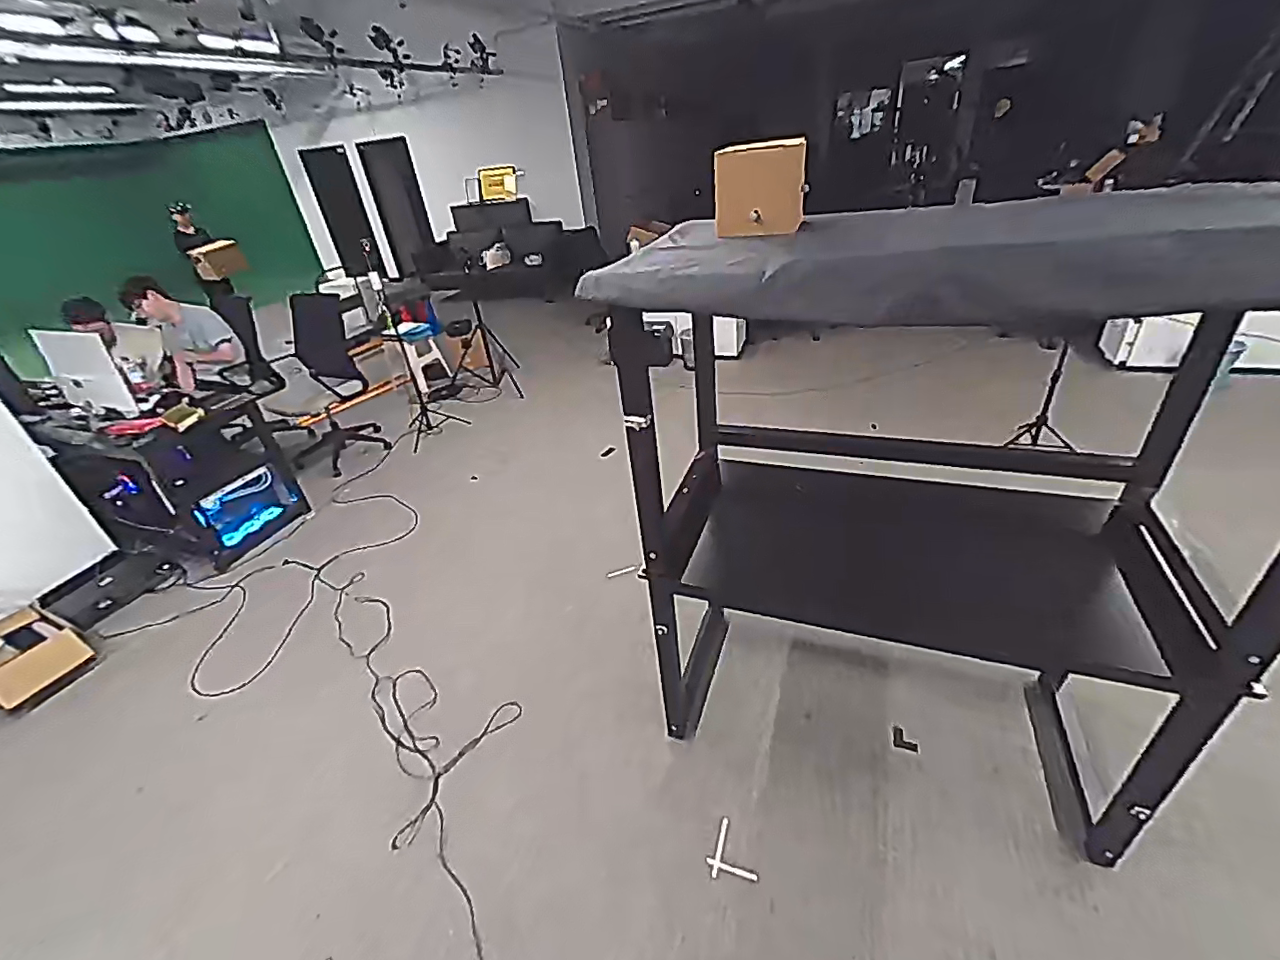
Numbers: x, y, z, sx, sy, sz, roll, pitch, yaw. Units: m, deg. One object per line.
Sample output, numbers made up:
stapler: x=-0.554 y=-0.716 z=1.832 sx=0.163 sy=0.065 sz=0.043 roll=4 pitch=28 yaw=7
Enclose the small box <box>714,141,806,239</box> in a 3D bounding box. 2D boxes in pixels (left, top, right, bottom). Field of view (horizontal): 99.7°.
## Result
small box: x=0.267 y=-0.645 z=1.205 sx=0.179 sy=0.176 sz=0.168 roll=6 pitch=35 yaw=19
